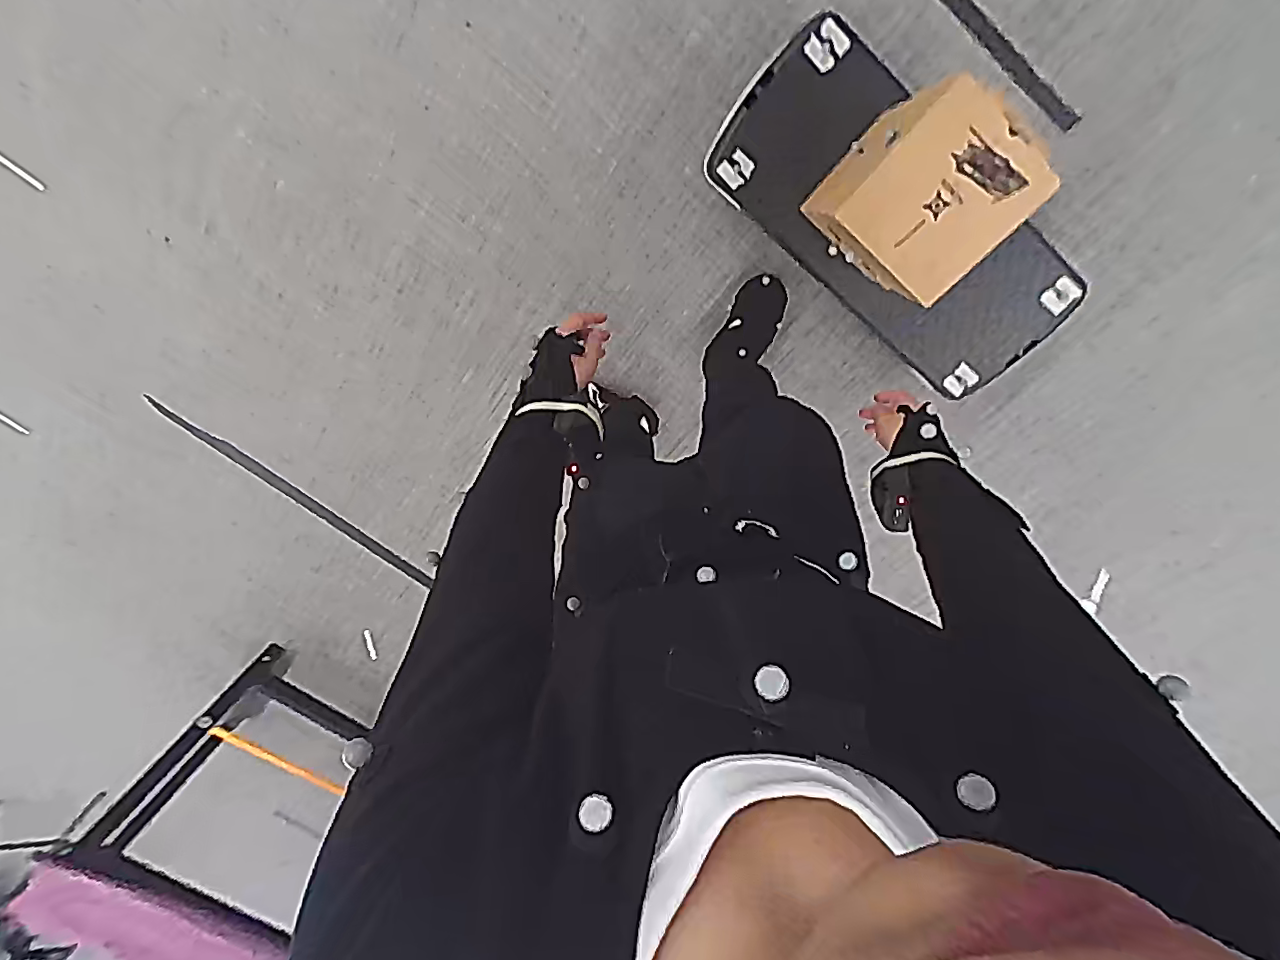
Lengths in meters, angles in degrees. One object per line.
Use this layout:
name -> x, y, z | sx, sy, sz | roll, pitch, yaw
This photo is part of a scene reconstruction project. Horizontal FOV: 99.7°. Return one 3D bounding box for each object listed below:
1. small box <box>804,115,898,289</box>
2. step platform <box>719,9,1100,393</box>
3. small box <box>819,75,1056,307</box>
small box -> 0.374, -0.426, 0.825 | 0.168, 0.176, 0.179 | 39, 117, -11
step platform -> 0.474, -0.468, 0.985 | 0.684, 0.204, 0.286 | 38, 117, -10
small box -> 0.351, -0.353, 0.680 | 0.168, 0.176, 0.179 | 39, 117, -12
